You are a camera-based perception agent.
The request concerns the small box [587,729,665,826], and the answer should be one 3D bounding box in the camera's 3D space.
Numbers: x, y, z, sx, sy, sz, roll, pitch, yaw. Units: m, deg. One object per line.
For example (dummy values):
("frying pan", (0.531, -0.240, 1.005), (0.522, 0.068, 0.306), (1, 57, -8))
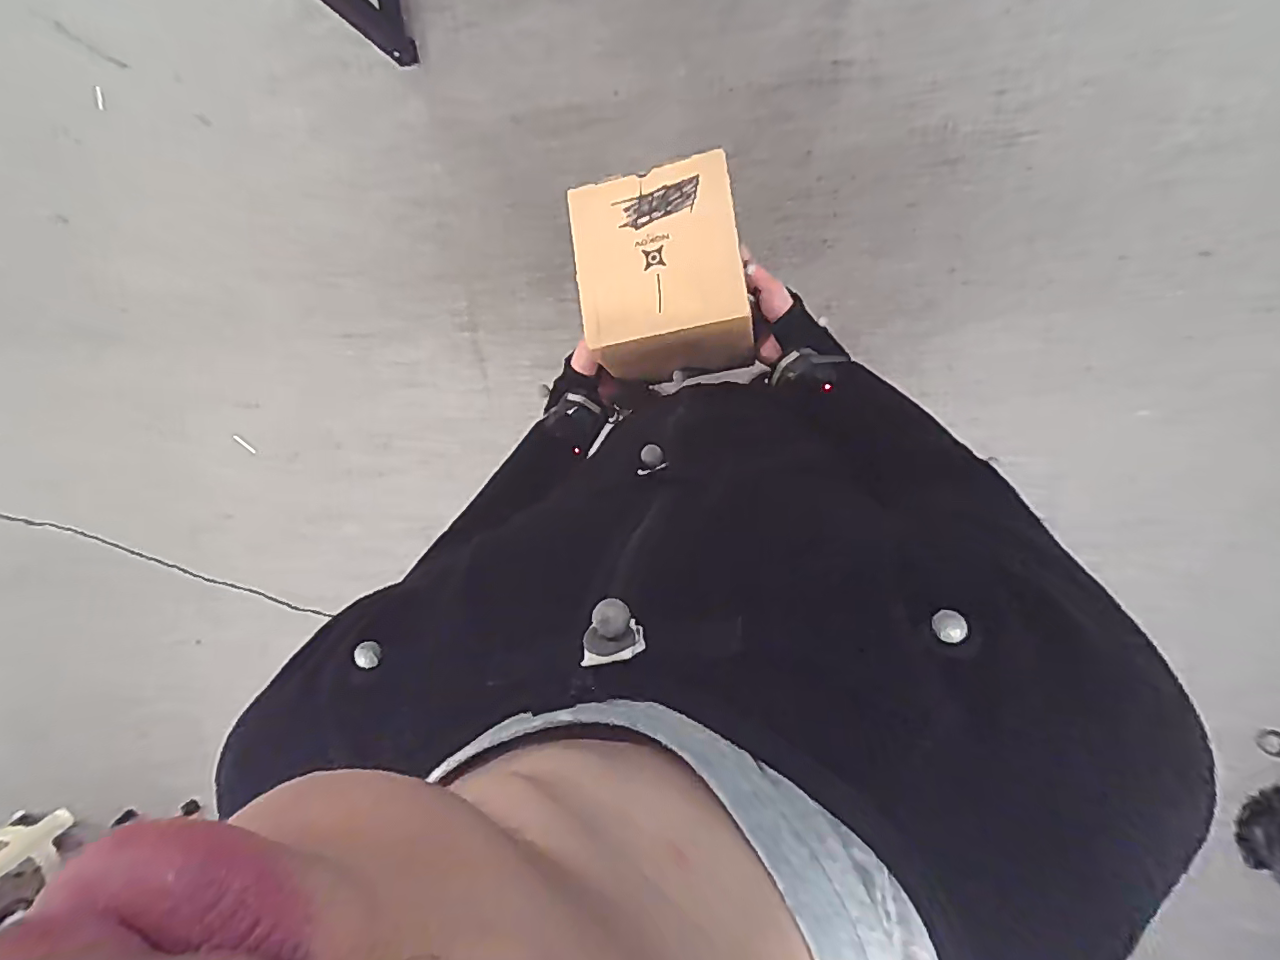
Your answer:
("small box", (-0.036, 0.935, 1.718), (0.168, 0.176, 0.179), (42, 107, 0))
